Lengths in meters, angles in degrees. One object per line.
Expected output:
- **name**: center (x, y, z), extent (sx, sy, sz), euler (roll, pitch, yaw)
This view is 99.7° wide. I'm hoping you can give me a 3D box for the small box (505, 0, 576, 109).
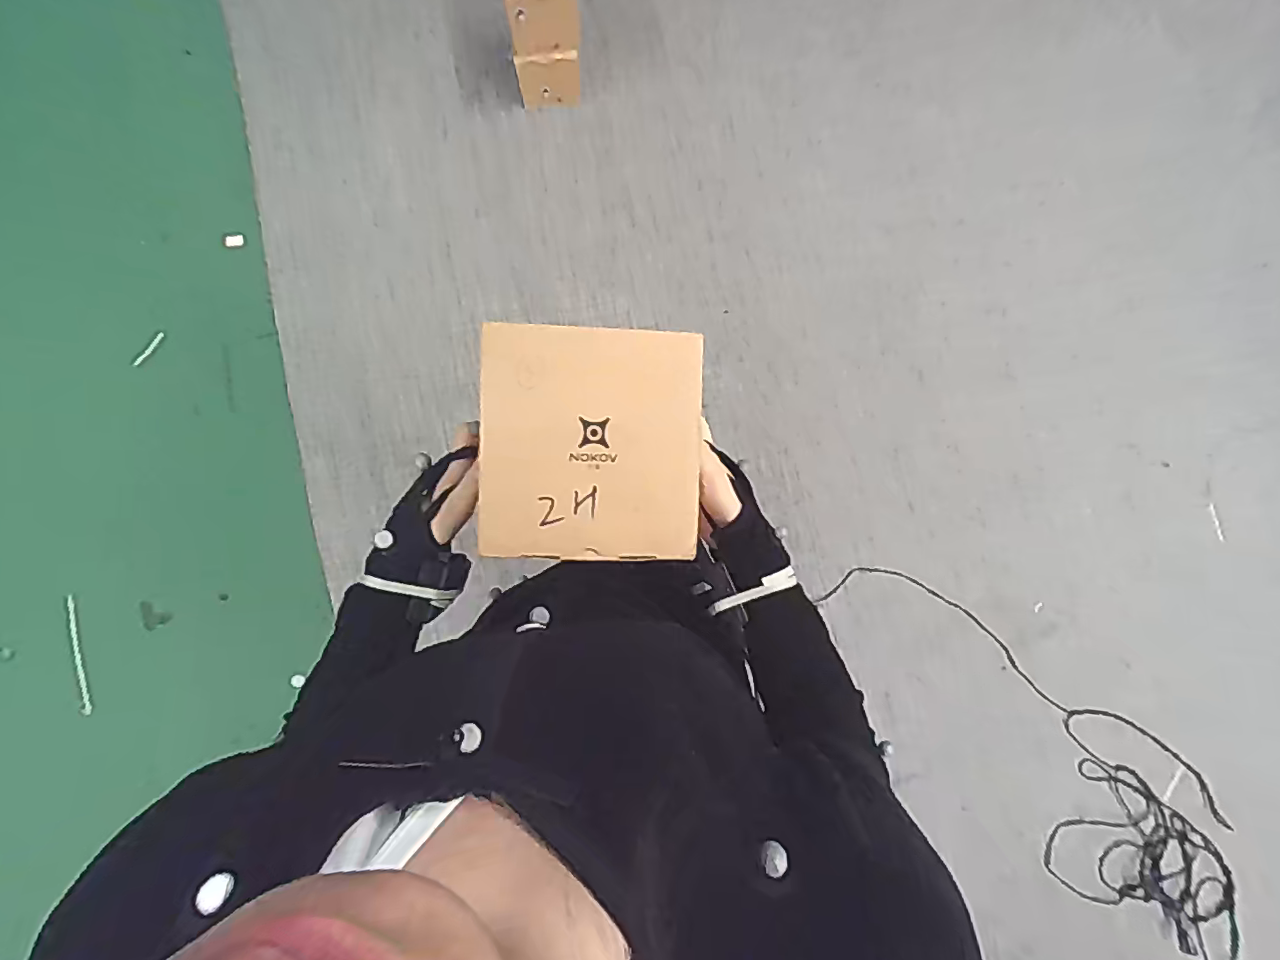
- **small box**: center (-0.267, -1.162, 1.480), extent (0.168, 0.176, 0.179), euler (-7, 88, -4)
